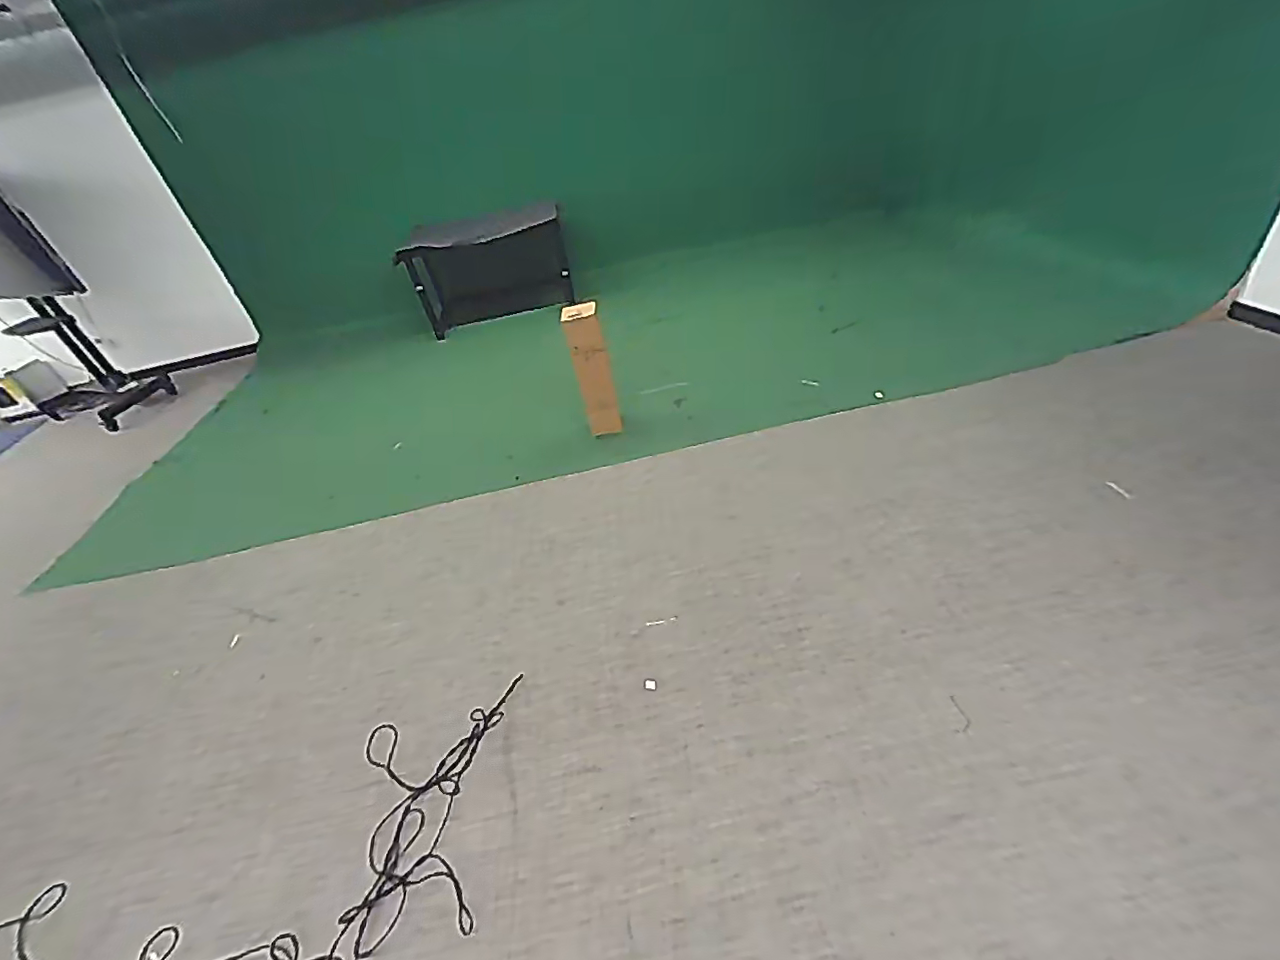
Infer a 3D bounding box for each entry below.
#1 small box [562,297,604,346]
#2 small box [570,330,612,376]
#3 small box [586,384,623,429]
[{"bbox_3d":[-0.269,-0.759,2.603,0.168,0.176,0.179,-10,37,5],"label":"small box"},{"bbox_3d":[-0.245,-0.638,2.712,0.179,0.176,0.168,-11,38,3],"label":"small box"},{"bbox_3d":[-0.191,-0.388,2.918,0.168,0.176,0.179,-13,37,1],"label":"small box"}]
